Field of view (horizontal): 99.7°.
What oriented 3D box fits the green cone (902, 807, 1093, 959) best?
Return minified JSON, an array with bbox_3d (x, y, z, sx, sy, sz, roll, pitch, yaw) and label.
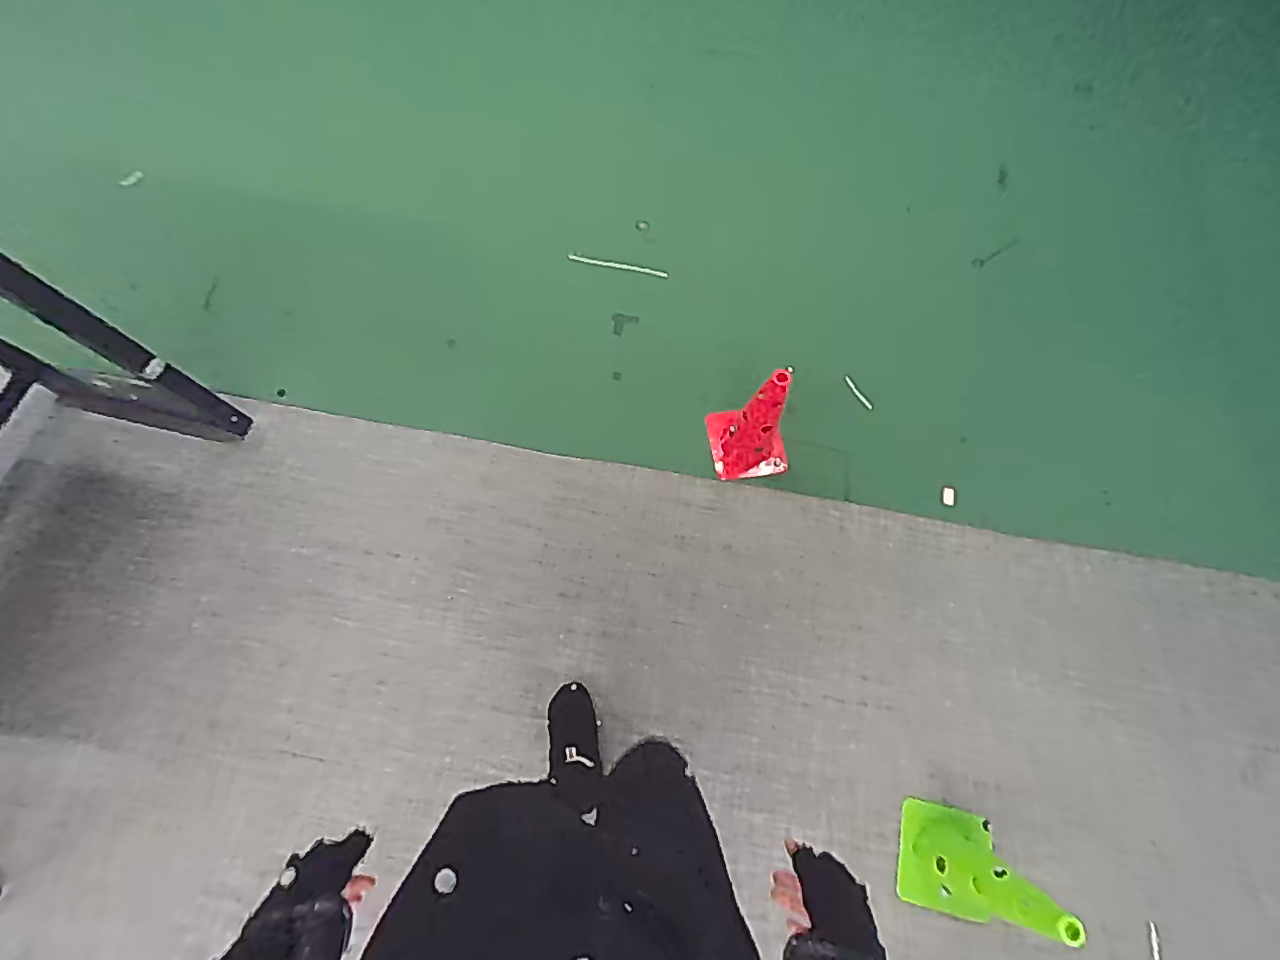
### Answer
[{"bbox_3d":[0.673,0.775,1.005,0.200,0.368,0.202,12,70,3],"label":"green cone"}]
